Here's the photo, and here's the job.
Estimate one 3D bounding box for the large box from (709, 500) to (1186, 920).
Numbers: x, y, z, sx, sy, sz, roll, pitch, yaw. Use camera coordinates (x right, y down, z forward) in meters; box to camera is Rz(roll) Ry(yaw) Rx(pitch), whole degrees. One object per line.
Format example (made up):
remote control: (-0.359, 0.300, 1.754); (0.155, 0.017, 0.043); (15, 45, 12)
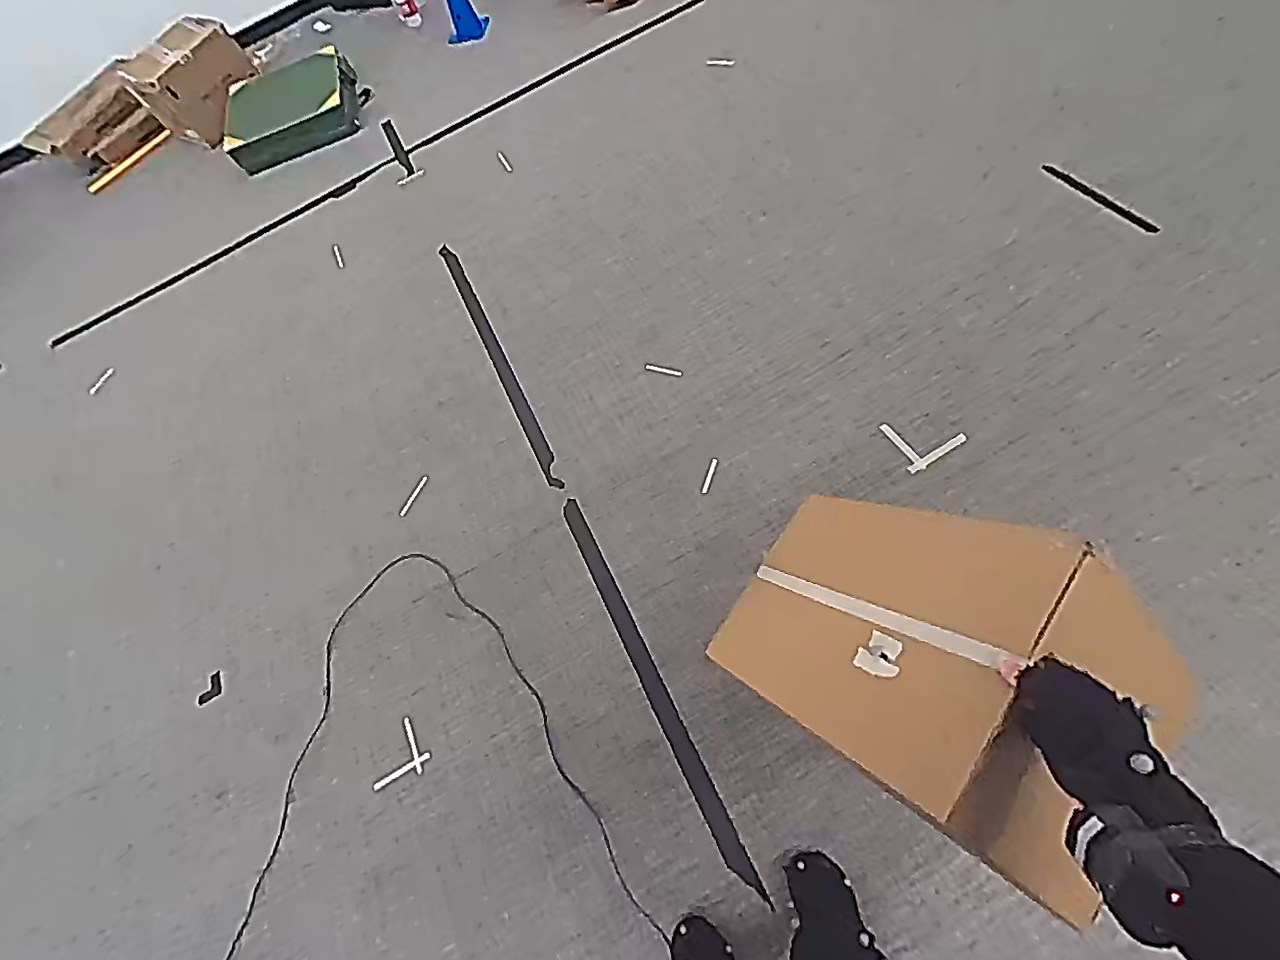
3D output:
large box: (0.377, 0.255, 0.730); (0.320, 0.320, 0.408); (-55, 23, -12)
